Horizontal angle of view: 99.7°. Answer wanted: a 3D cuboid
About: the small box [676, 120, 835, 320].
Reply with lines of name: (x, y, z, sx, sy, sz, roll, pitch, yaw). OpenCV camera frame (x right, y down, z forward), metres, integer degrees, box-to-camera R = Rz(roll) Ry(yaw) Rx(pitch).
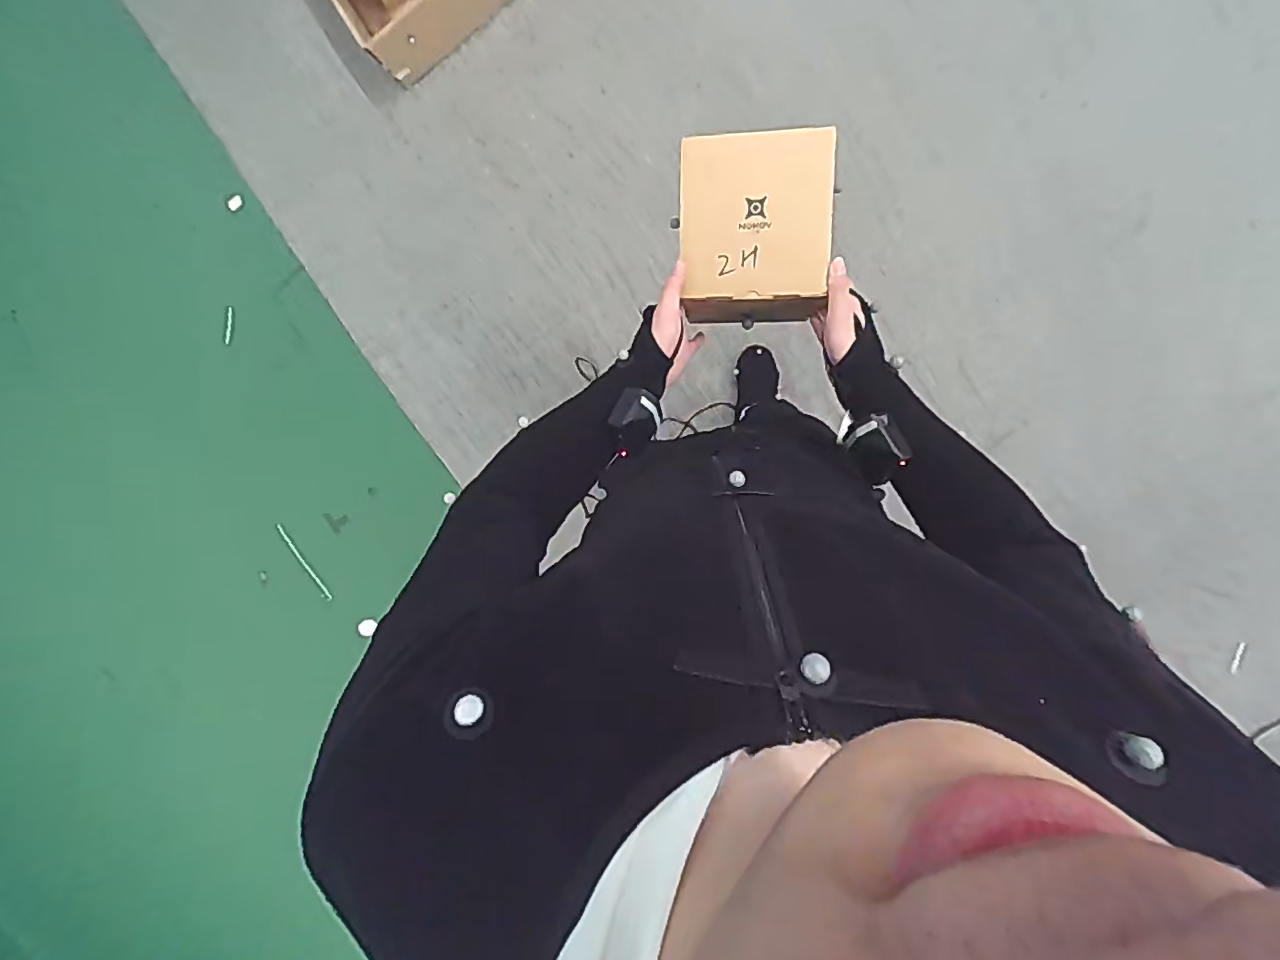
small box: (0.135, -0.302, 0.665, 0.168, 0.176, 0.179, 2, 97, 9)
